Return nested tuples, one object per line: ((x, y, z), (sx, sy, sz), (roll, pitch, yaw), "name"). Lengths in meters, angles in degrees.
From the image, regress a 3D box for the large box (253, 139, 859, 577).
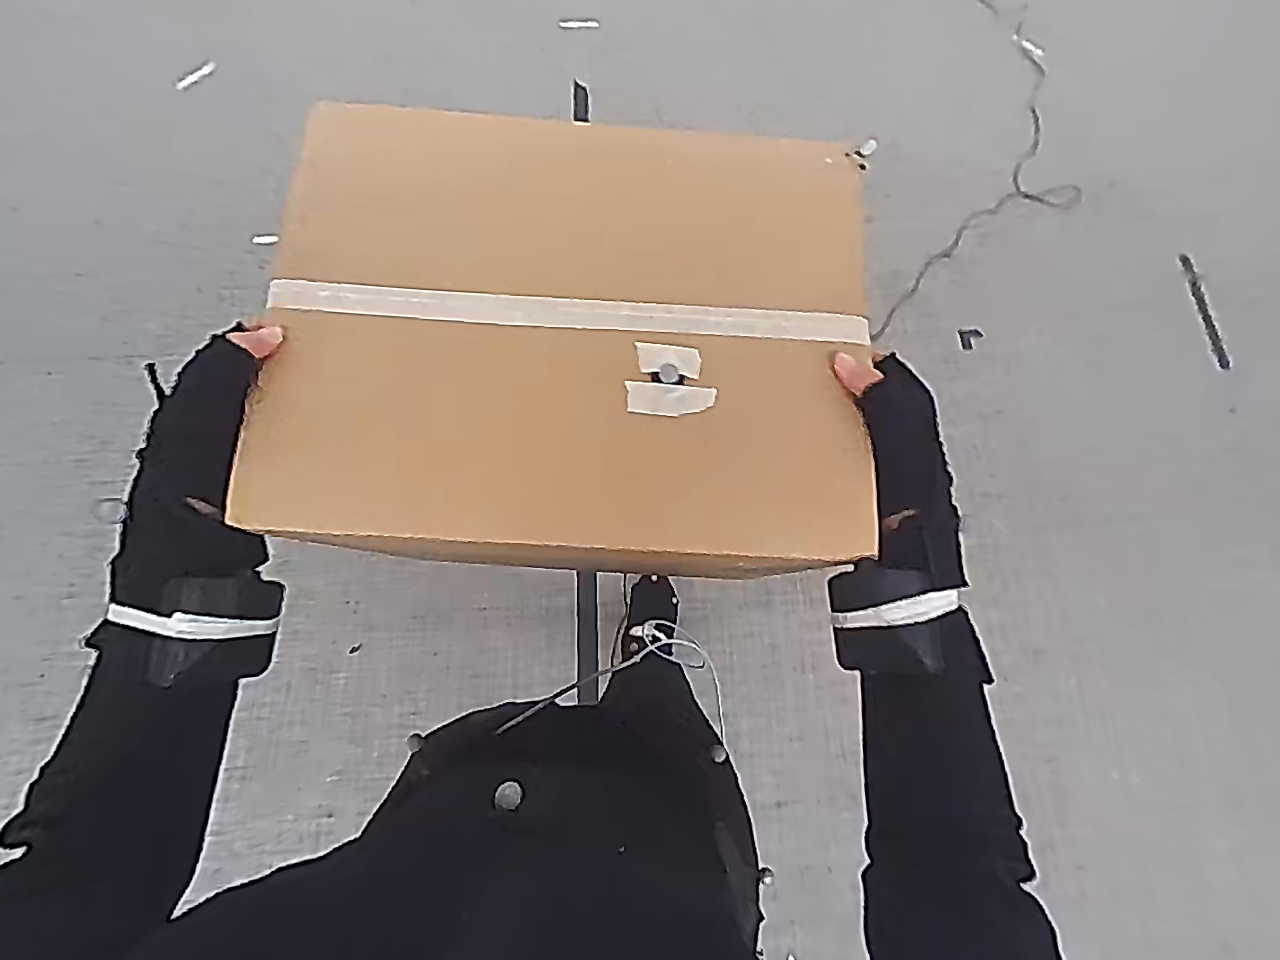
((-0.055, -0.071, 0.528), (0.408, 0.320, 0.320), (3, 79, -2), "large box")
